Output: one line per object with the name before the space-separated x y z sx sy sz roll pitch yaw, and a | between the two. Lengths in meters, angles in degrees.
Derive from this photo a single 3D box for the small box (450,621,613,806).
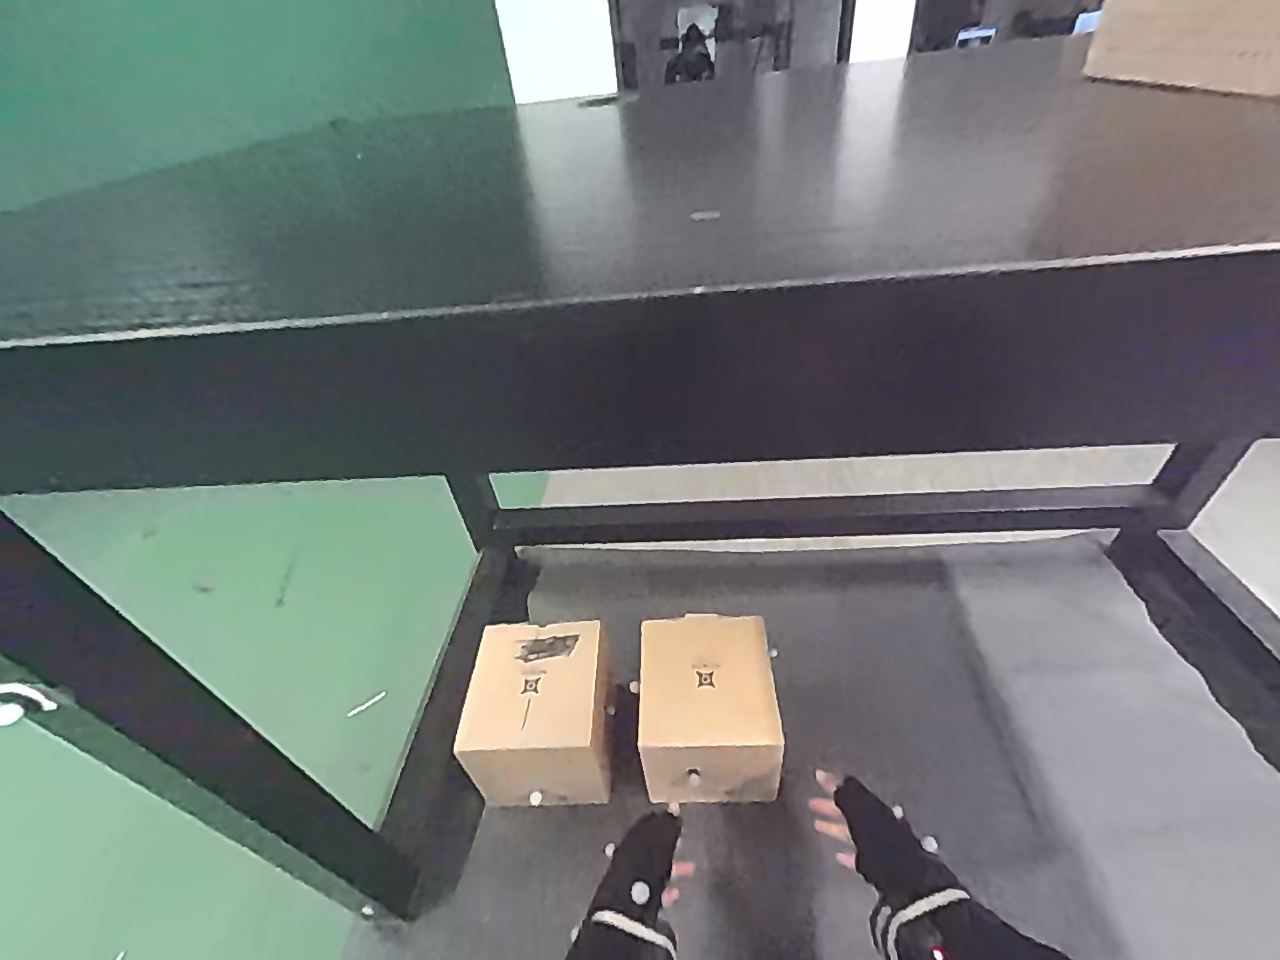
small box | -0.131 0.315 0.737 0.168 0.176 0.179 -4 39 5
